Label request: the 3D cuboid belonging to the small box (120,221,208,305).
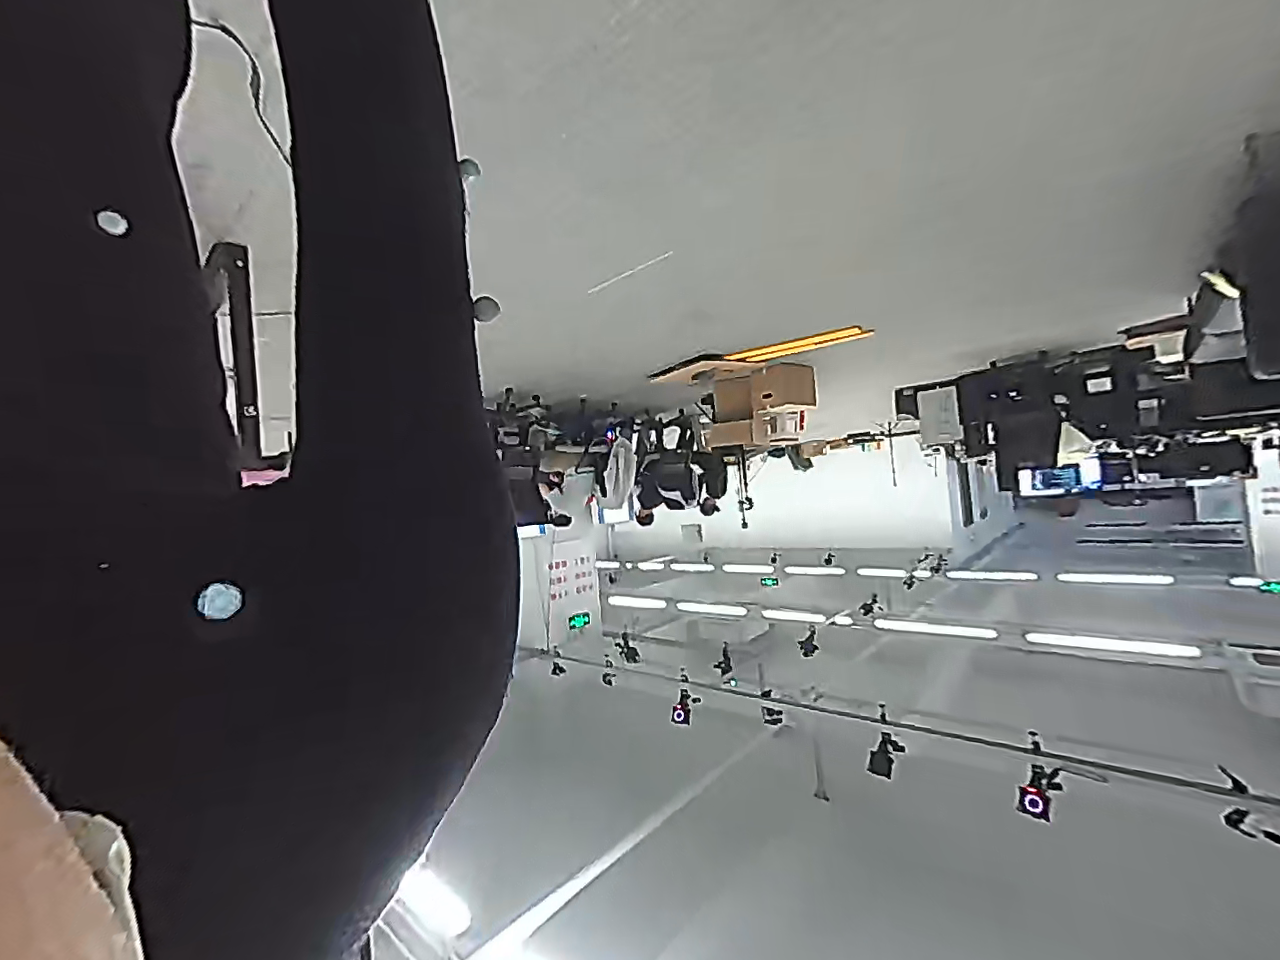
[{"bbox_3d":[-1.411,-0.639,1.604,0.168,0.176,0.179,-6,178,43],"label":"small box"}]
